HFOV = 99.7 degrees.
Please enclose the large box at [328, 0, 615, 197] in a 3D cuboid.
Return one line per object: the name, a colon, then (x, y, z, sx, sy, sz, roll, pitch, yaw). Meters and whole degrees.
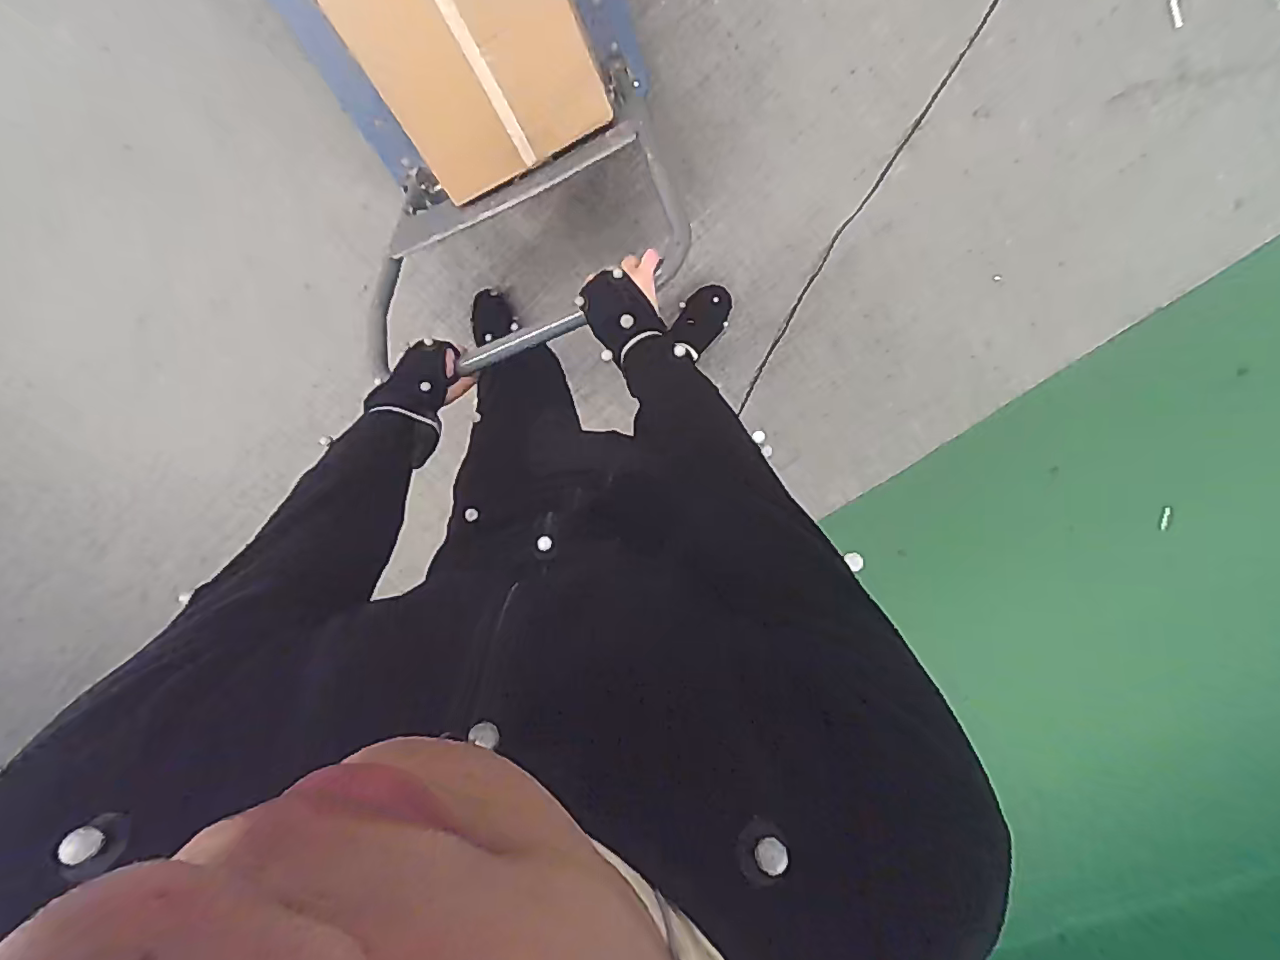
large box: (-0.271, -0.776, 0.890, 0.320, 0.320, 0.408, -22, 135, 14)
